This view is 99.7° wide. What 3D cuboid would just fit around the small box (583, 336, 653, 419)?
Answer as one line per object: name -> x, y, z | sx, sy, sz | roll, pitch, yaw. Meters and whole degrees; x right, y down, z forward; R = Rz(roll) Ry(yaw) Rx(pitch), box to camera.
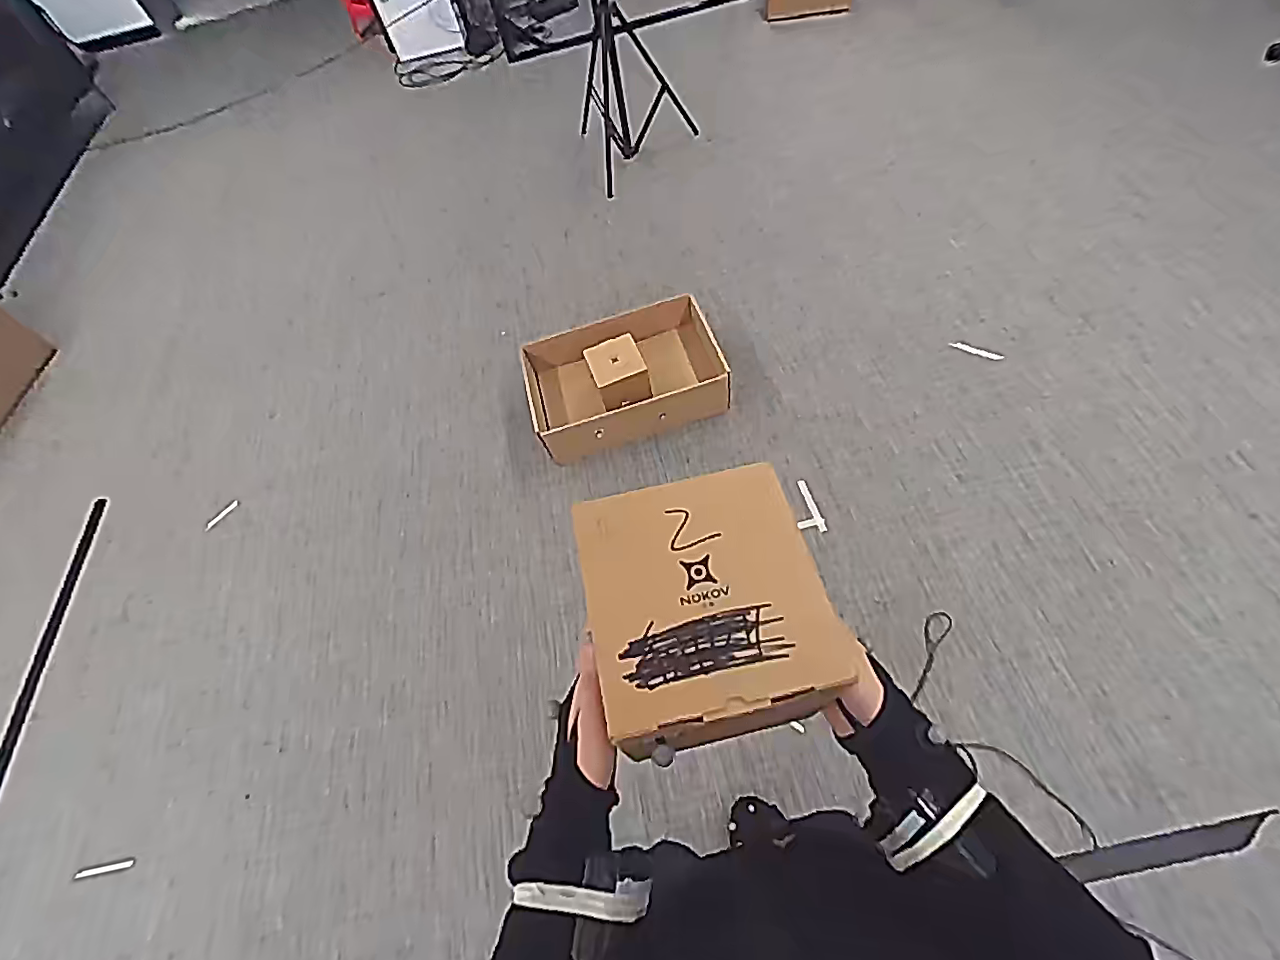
small box -> -0.070, -0.331, 1.767 | 0.168, 0.176, 0.179 | -22, 59, -3
